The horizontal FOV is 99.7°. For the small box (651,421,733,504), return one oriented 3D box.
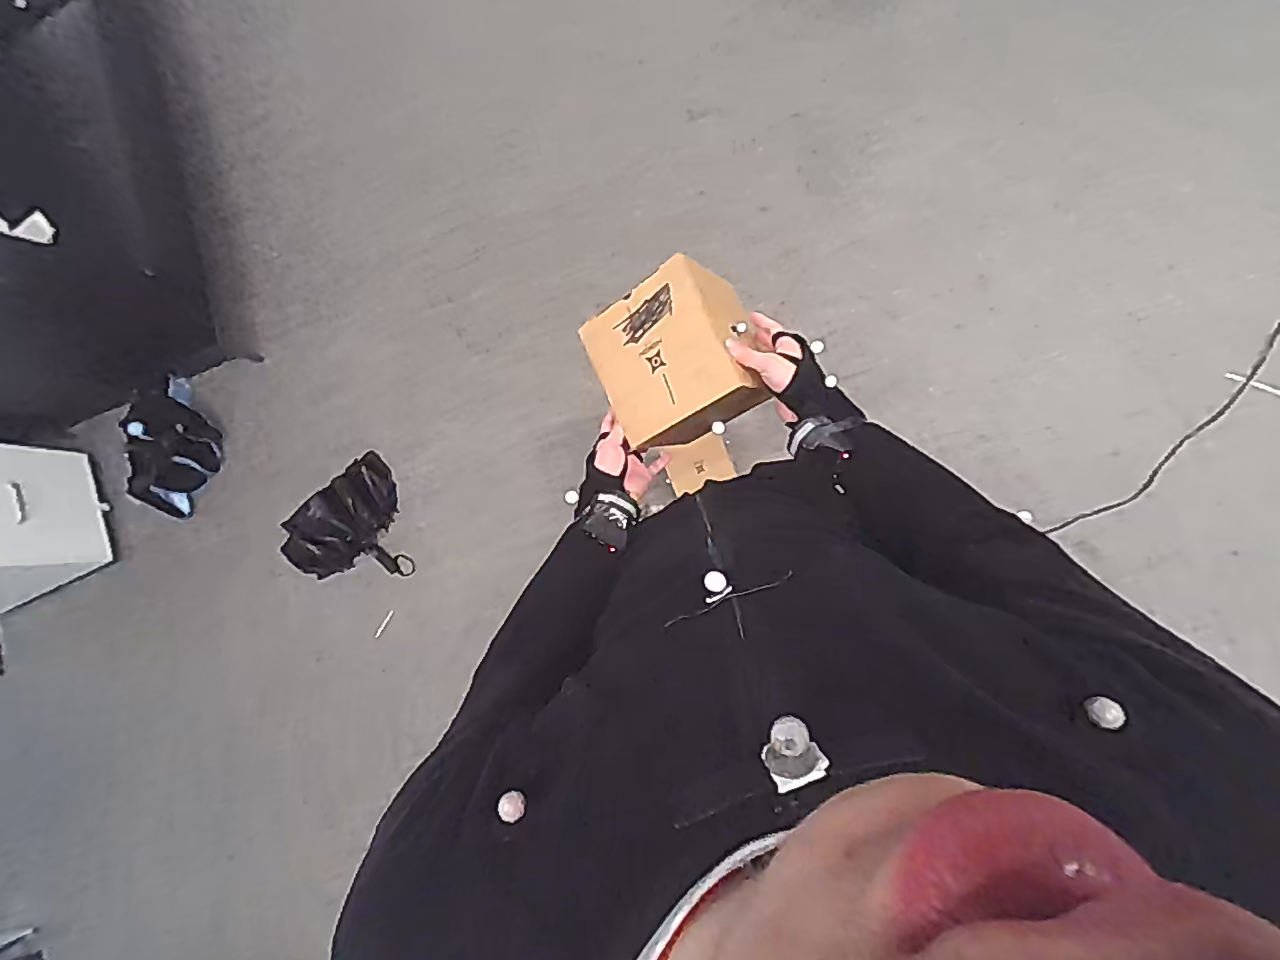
[{"bbox_3d":[0.145,-0.041,1.476,0.168,0.176,0.179,-23,84,9],"label":"small box"}]
